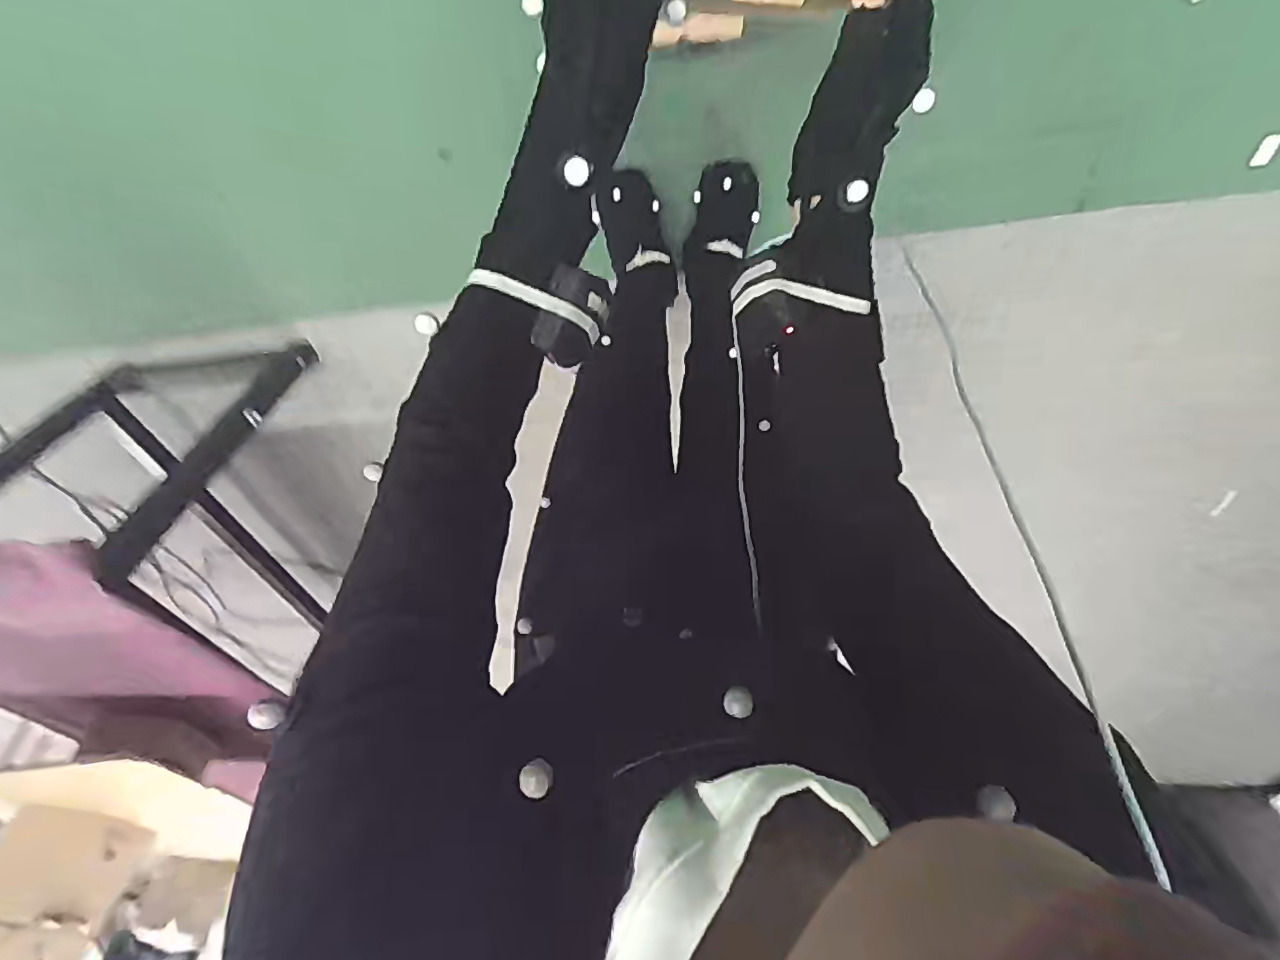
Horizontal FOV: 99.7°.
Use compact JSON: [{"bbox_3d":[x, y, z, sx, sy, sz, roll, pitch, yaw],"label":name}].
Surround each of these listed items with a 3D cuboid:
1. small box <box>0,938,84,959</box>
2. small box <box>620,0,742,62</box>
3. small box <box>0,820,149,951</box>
[{"bbox_3d":[-1.114,0.868,0.897,0.179,0.176,0.168,-3,134,9],"label":"small box"},{"bbox_3d":[0.056,-0.723,0.760,0.168,0.176,0.179,-4,135,8],"label":"small box"},{"bbox_3d":[-1.100,0.754,1.013,0.179,0.176,0.168,-1,135,8],"label":"small box"}]
